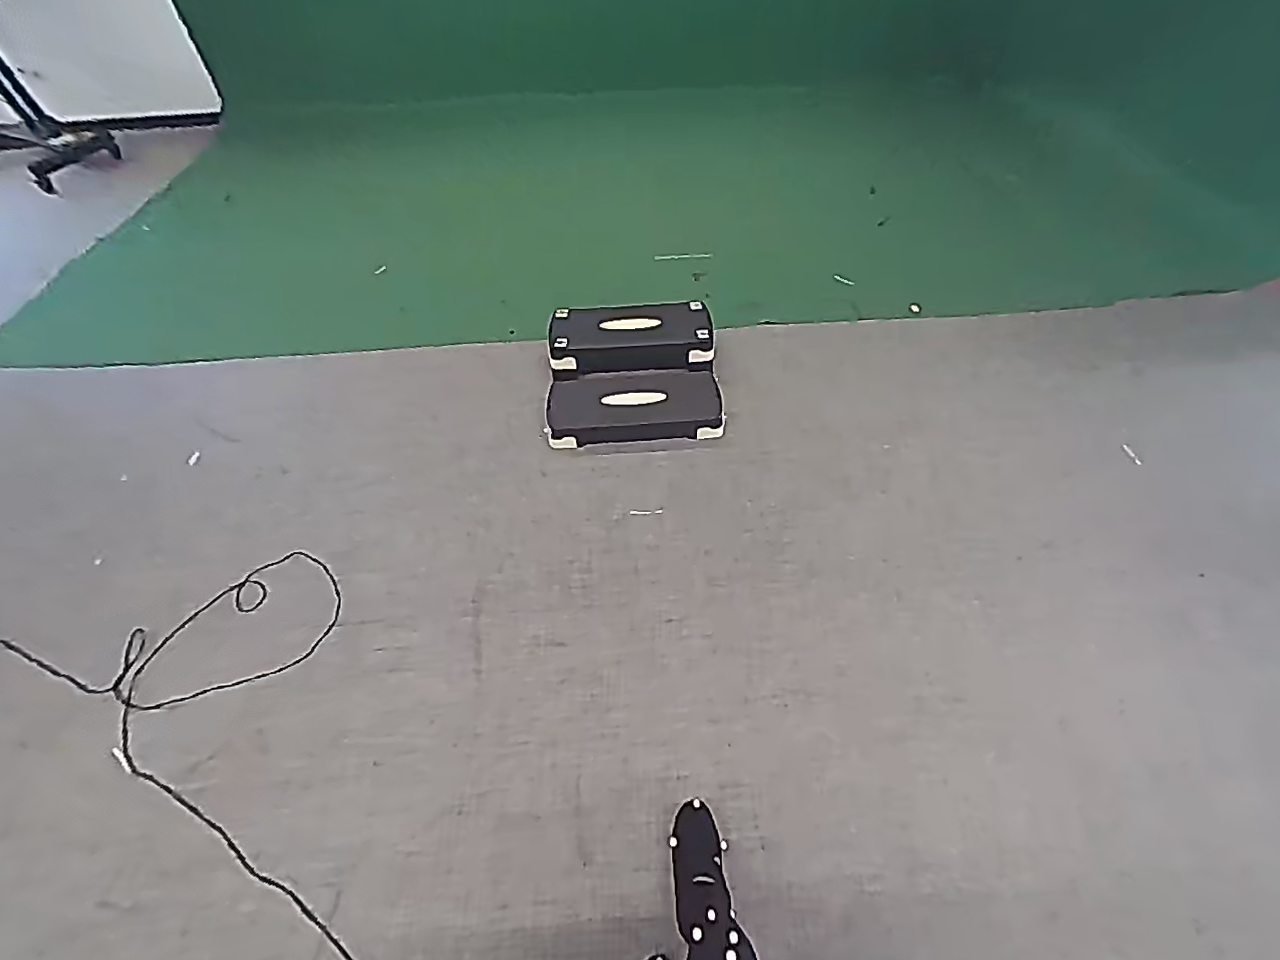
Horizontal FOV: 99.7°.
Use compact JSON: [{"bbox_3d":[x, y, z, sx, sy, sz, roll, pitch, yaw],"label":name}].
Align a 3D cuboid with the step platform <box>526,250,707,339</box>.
[{"bbox_3d":[-0.087,-0.726,2.114,0.684,0.204,0.286,-4,51,-1],"label":"step platform"}]
